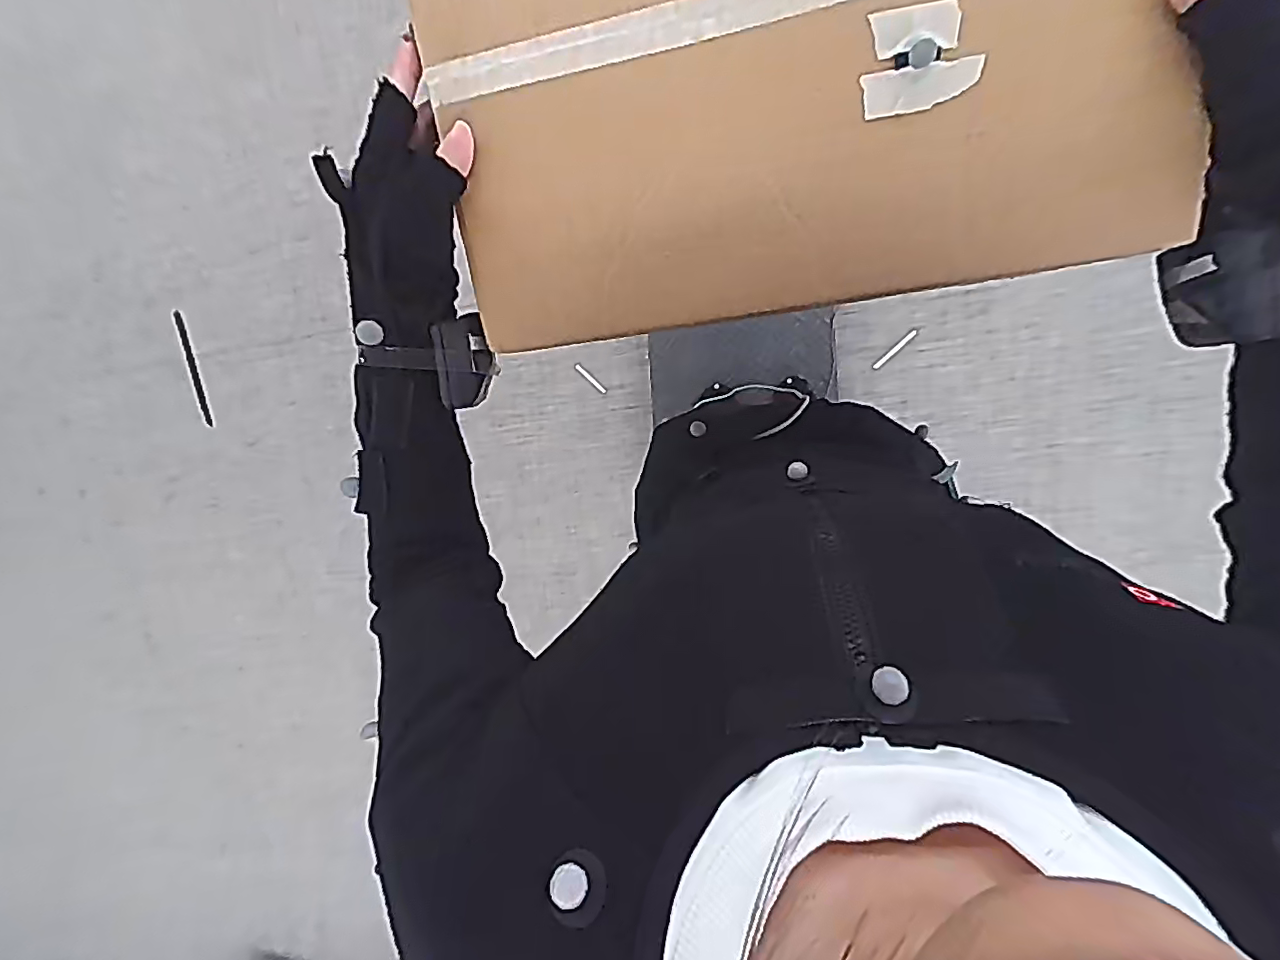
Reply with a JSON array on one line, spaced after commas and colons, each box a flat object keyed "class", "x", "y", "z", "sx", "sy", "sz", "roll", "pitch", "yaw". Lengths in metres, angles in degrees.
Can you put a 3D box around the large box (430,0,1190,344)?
[{"class": "large box", "x": 0.095, "y": -0.304, "z": 0.438, "sx": 0.408, "sy": 0.320, "sz": 0.320, "roll": -6, "pitch": 106, "yaw": 10}]
